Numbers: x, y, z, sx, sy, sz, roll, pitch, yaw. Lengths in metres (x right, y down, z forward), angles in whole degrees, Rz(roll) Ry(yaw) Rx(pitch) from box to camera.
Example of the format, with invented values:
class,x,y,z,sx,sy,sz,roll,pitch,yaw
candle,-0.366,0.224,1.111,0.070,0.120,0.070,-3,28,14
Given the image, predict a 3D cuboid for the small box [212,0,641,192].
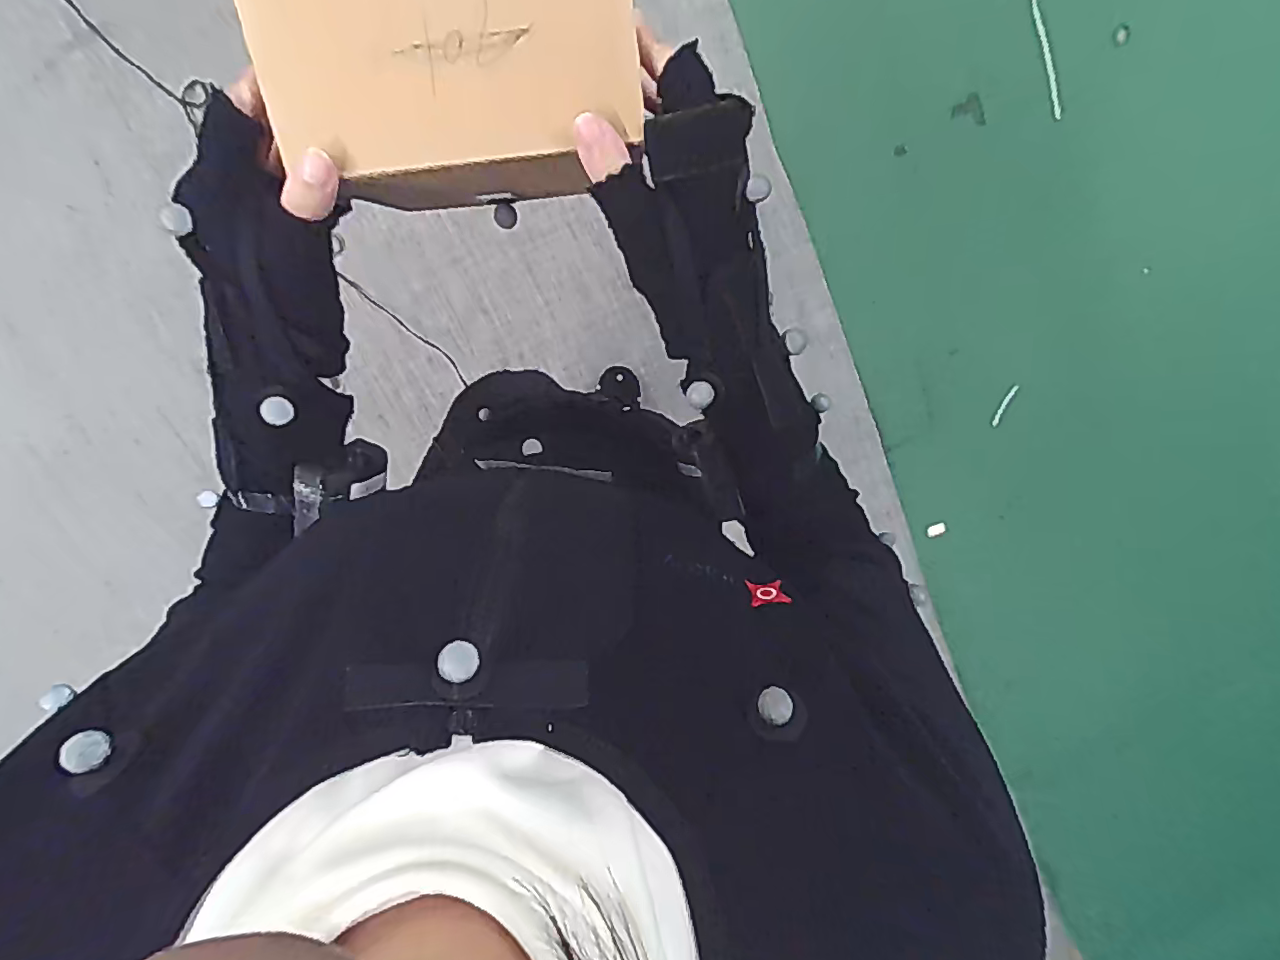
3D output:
class,x,y,z,sx,sy,sz,roll,pitch,yaw
small box,-0.092,-0.260,0.272,0.168,0.176,0.179,-6,112,1
